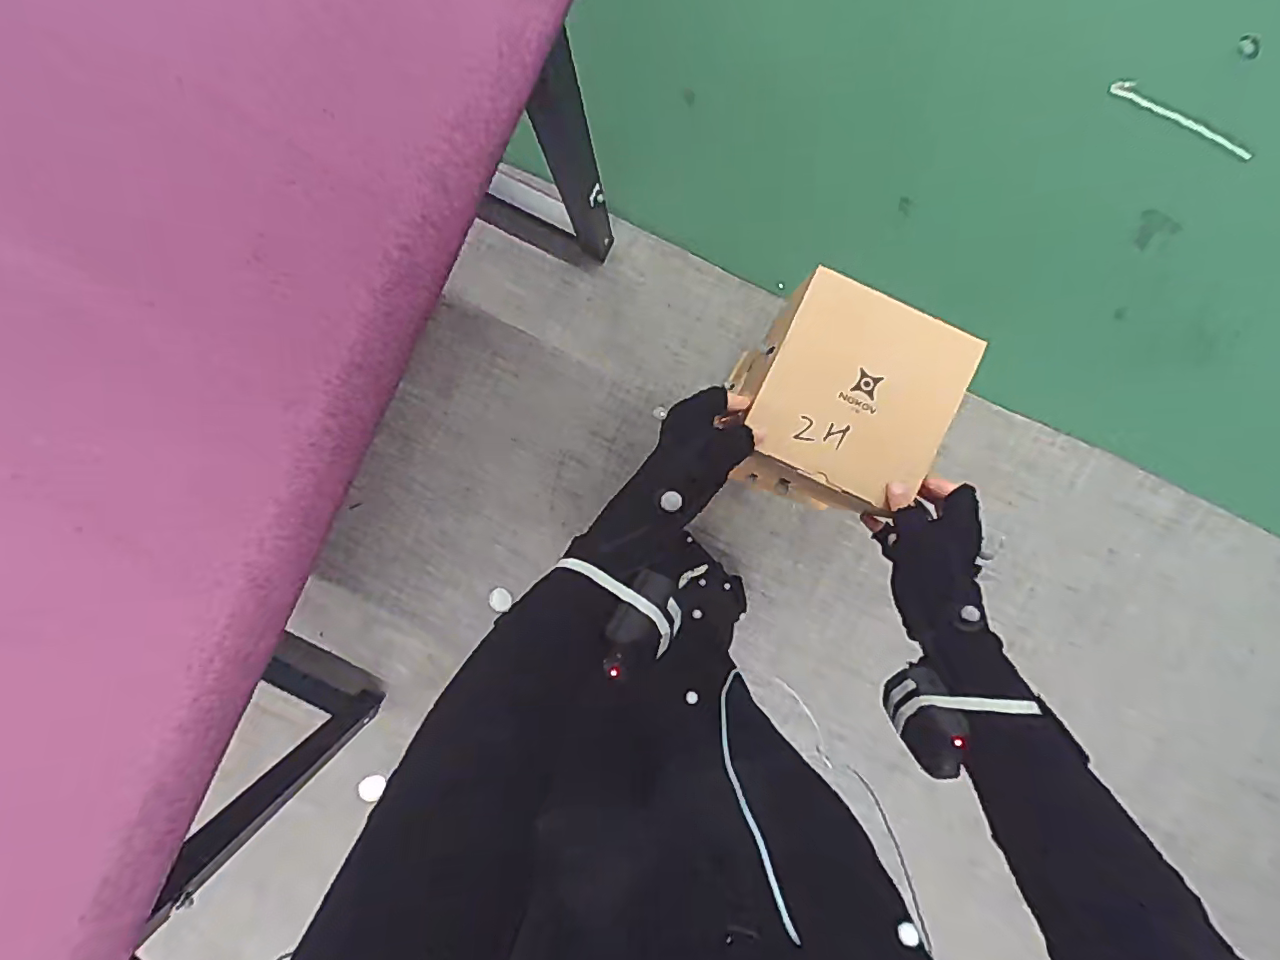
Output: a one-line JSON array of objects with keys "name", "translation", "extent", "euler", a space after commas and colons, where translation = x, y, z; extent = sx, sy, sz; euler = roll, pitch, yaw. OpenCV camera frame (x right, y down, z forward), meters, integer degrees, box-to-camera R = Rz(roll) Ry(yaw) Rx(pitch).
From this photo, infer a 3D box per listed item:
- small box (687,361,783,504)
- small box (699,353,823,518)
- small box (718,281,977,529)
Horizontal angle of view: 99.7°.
[{"name": "small box", "translation": [0.195, -0.081, 0.924], "extent": [0.179, 0.176, 0.168], "euler": [31, 94, 0]}, {"name": "small box", "translation": [0.199, -0.069, 0.762], "extent": [0.179, 0.176, 0.168], "euler": [30, 94, 0]}, {"name": "small box", "translation": [0.195, -0.068, 0.567], "extent": [0.168, 0.176, 0.179], "euler": [26, 91, 0]}]
